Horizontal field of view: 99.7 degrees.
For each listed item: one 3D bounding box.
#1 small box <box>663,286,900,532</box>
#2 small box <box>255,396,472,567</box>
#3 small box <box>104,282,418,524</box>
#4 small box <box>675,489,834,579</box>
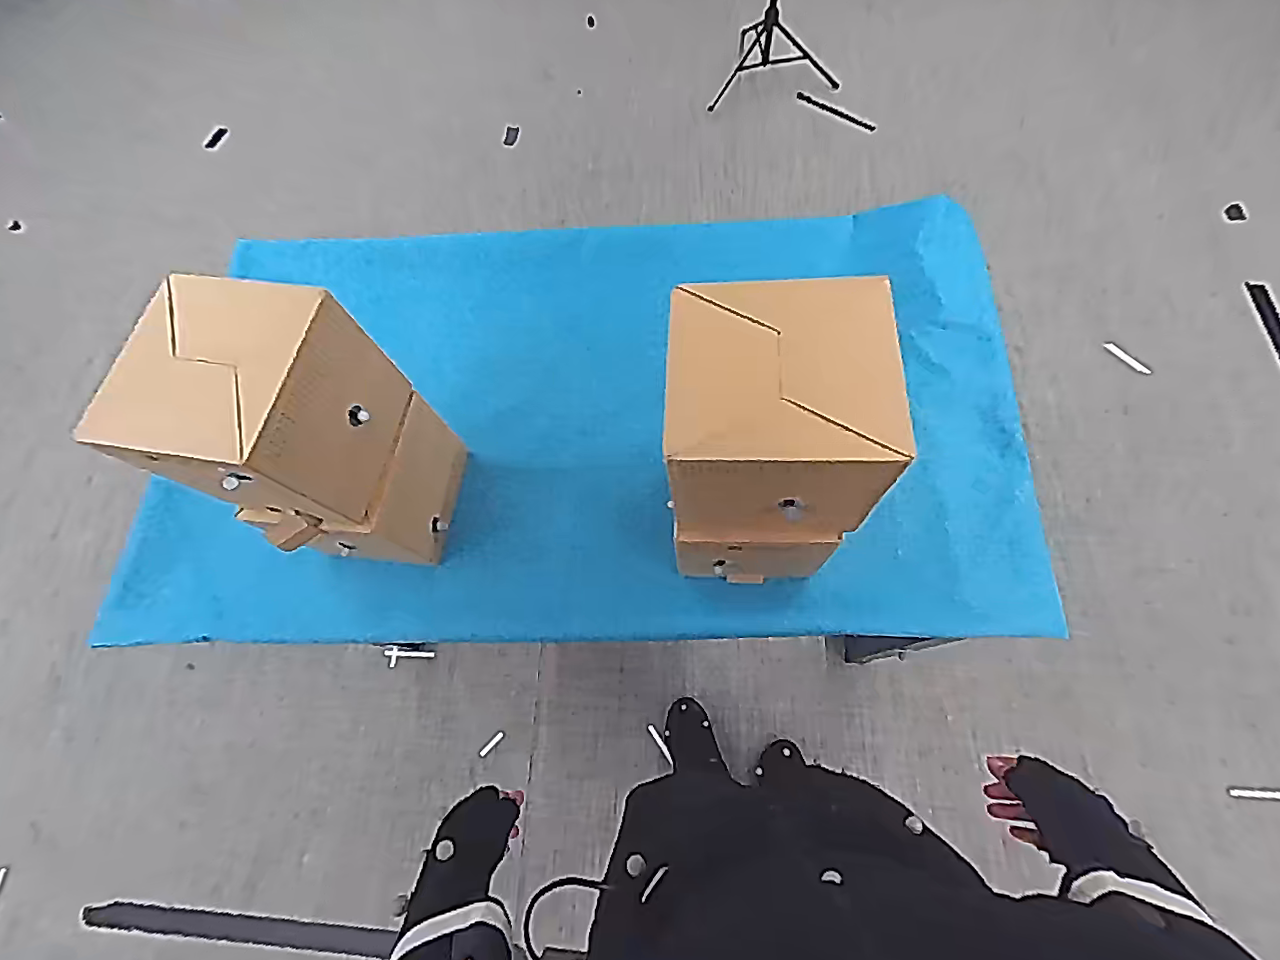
[{"bbox_3d":[0.119,-0.055,0.494,0.179,0.176,0.168,0,66,8],"label":"small box"},{"bbox_3d":[-0.340,0.002,0.691,0.168,0.176,0.179,4,69,7],"label":"small box"},{"bbox_3d":[-0.361,-0.070,0.544,0.168,0.176,0.179,8,71,8],"label":"small box"},{"bbox_3d":[0.127,0.013,0.643,0.168,0.176,0.179,-1,67,5],"label":"small box"}]
